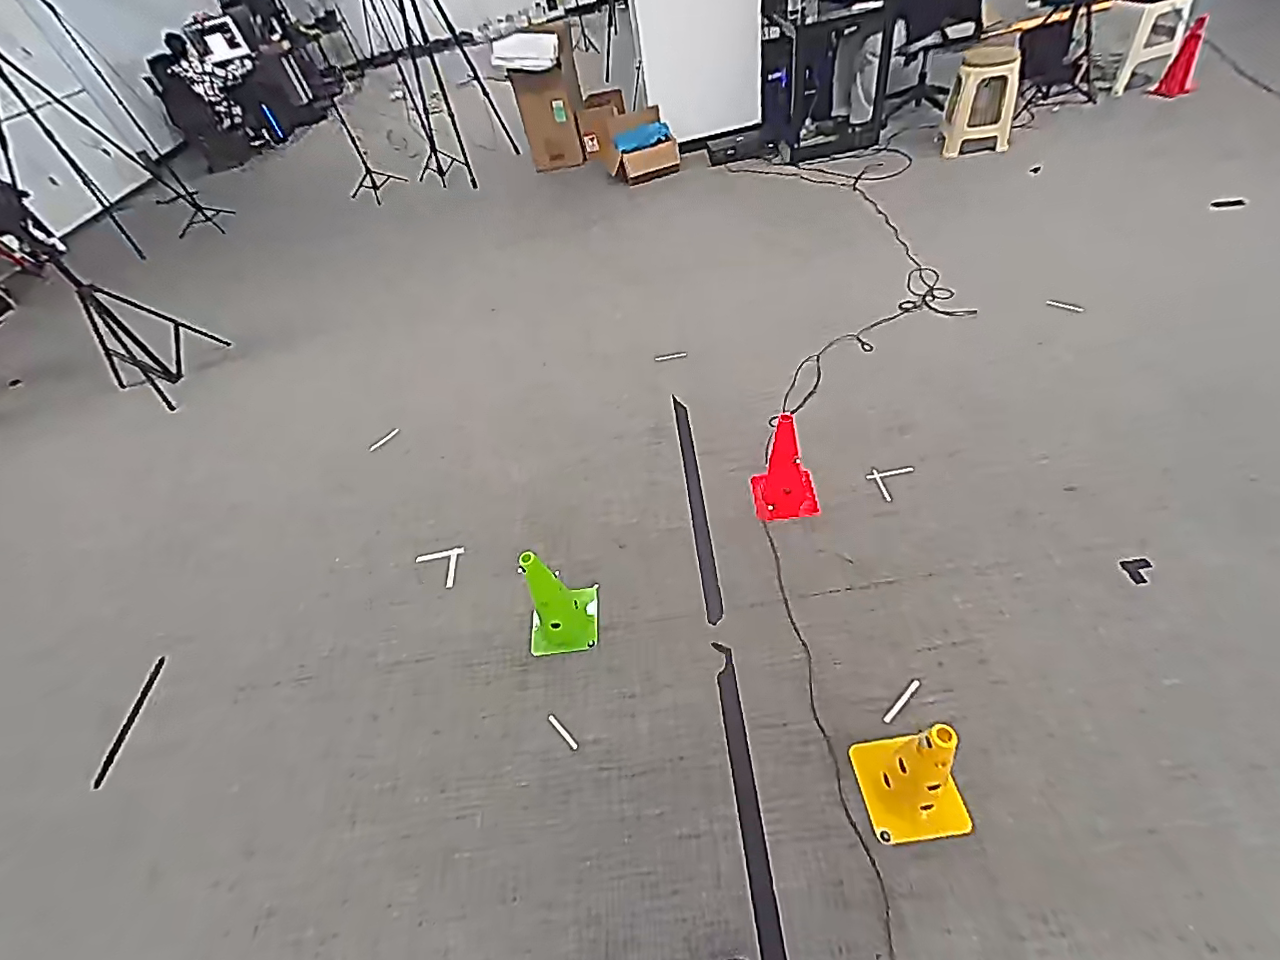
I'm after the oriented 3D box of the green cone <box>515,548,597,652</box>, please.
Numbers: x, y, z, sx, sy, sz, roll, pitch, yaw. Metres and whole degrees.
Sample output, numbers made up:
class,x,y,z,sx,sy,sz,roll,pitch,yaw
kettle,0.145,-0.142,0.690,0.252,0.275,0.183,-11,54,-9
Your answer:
class,x,y,z,sx,sy,sz,roll,pitch,yaw
green cone,-0.259,0.301,1.504,0.202,0.368,0.200,-10,47,6

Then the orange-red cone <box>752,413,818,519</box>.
class,x,y,z,sx,sy,sz,roll,pitch,yaw
orange-red cone,0.449,-0.065,1.668,0.199,0.360,0.198,-5,49,7
